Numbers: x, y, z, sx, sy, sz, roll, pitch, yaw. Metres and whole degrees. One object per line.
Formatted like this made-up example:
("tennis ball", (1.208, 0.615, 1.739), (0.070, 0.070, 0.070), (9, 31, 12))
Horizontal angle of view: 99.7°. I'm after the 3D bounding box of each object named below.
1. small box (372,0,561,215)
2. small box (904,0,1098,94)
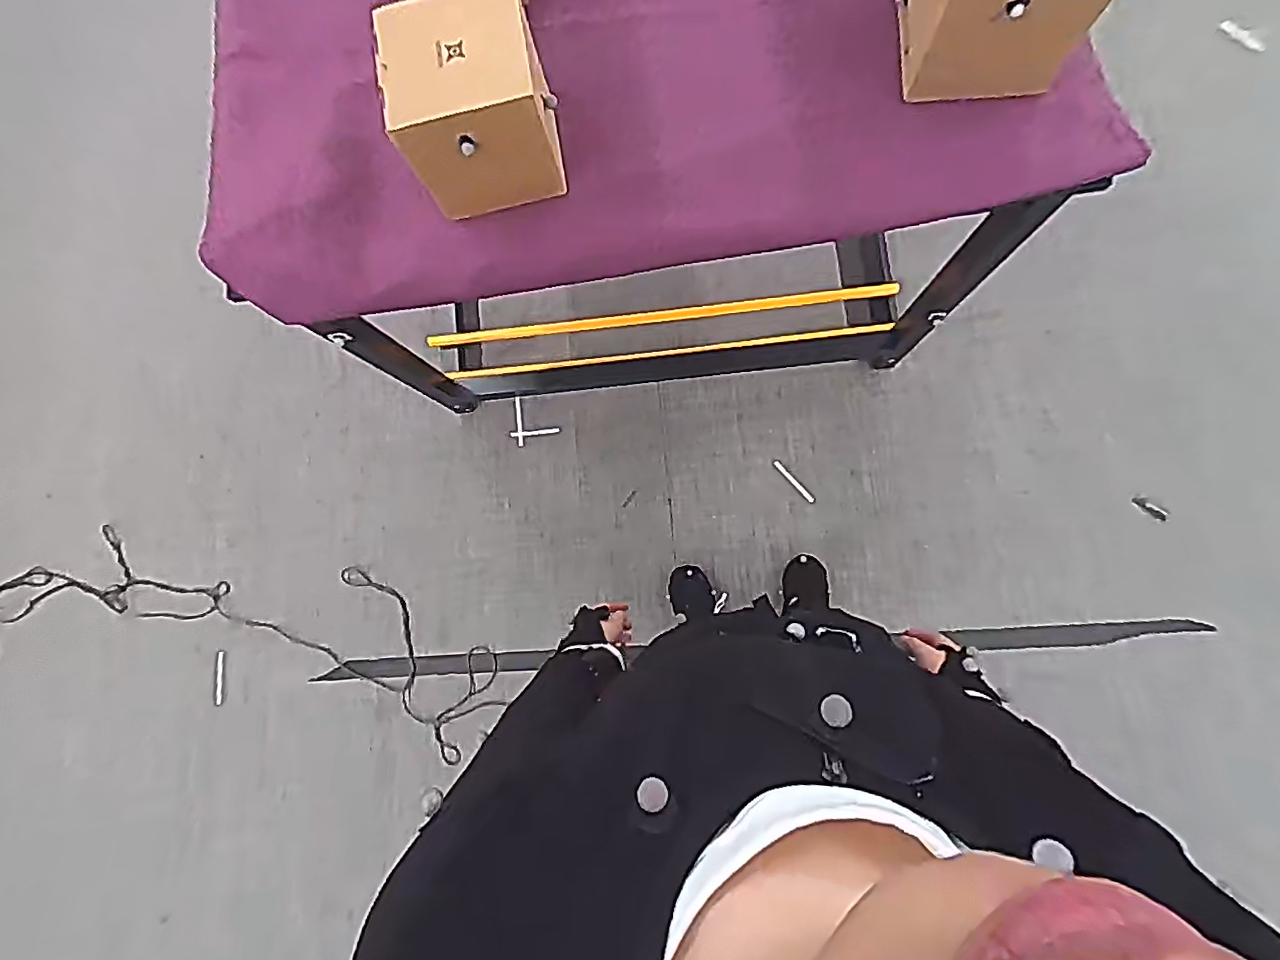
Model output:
("small box", (-0.206, -0.474, 0.688), (0.179, 0.176, 0.168), (-11, 81, 4))
("small box", (0.427, -0.594, 0.637), (0.179, 0.176, 0.168), (0, 82, 6))
